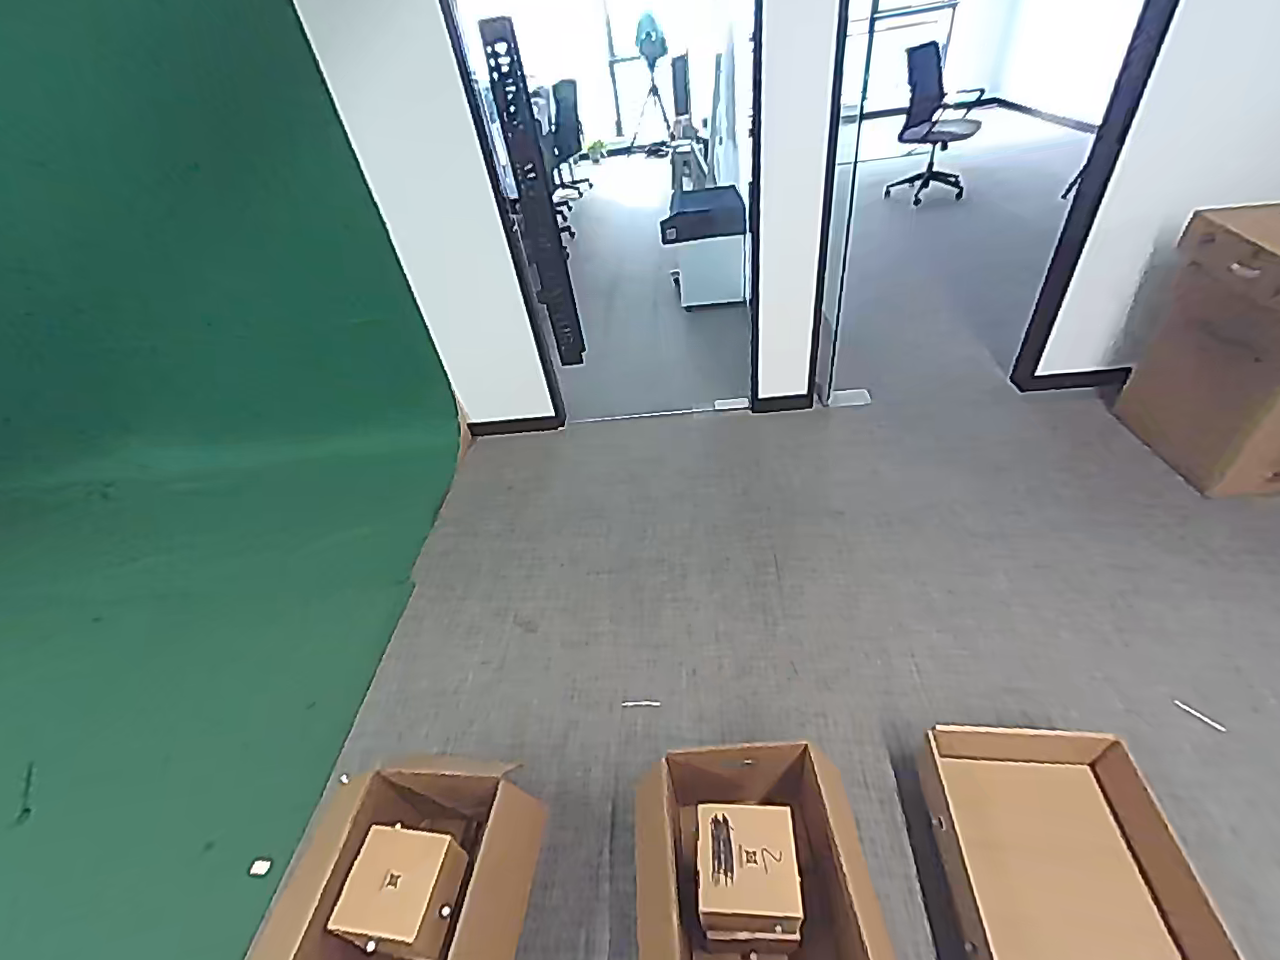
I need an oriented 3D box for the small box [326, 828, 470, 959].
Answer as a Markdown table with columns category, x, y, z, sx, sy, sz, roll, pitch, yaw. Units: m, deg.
| category | x | y | z | sx | sy | sz | roll | pitch | yaw |
| --- | --- | --- | --- | --- | --- | --- | --- | --- | --- |
| small box | -0.457 | 0.810 | 1.058 | 0.179 | 0.176 | 0.168 | 0 | 40 | 10 |
